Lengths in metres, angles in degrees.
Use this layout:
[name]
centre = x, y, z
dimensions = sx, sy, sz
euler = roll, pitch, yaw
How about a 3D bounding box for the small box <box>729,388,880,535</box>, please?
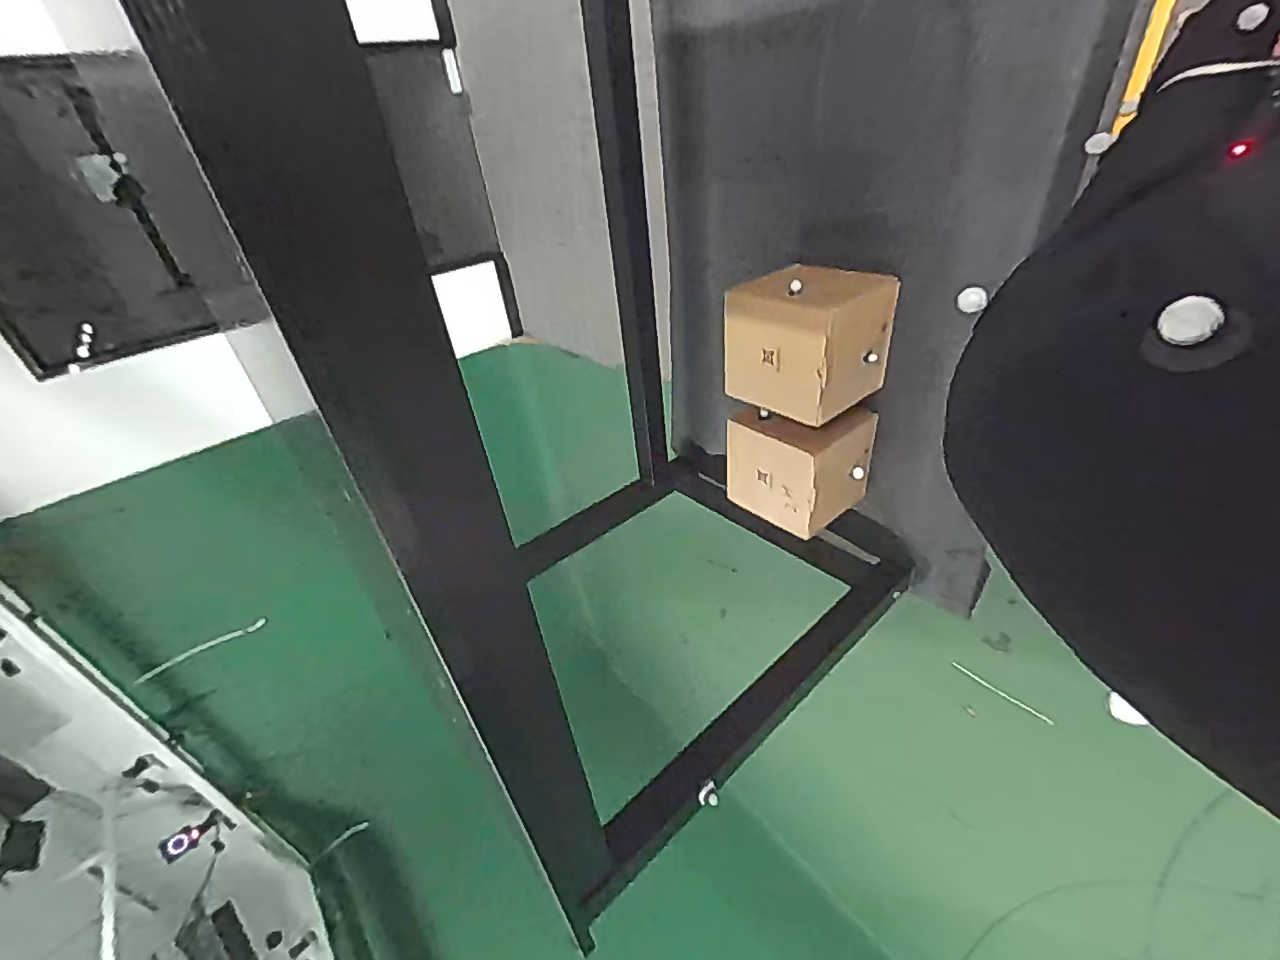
[small box]
centre = 0.272, -0.042, 0.917
dimensions = 0.179, 0.176, 0.168
euler = 31, 139, 42
